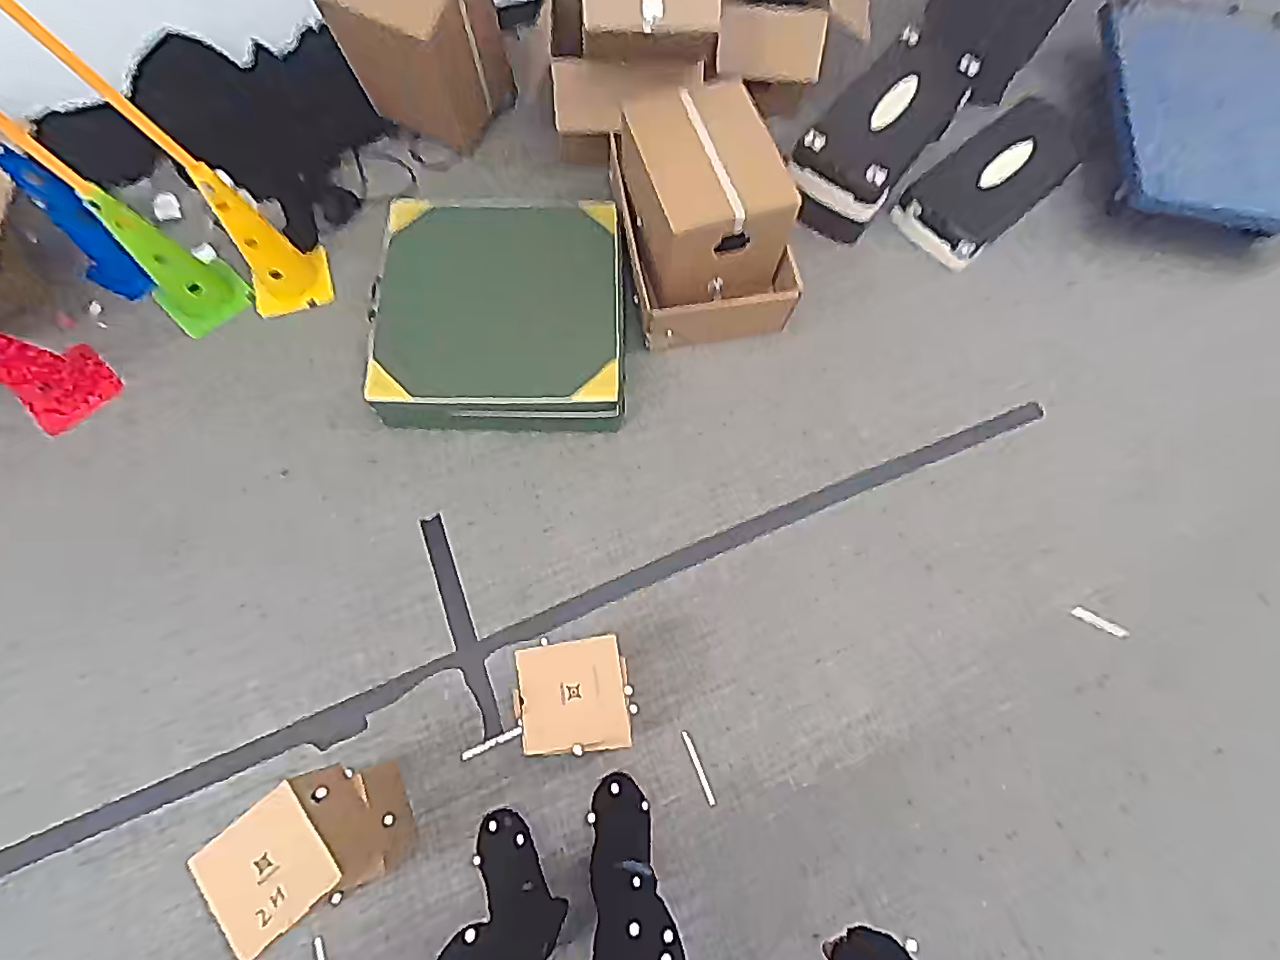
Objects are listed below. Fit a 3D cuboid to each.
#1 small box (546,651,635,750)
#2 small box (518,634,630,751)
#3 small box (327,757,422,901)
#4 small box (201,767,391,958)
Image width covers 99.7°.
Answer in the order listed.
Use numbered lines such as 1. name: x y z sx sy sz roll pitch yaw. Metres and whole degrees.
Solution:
1. small box: -0.106 0.455 1.125 0.179 0.176 0.168 -5 71 -5
2. small box: -0.114 0.379 0.976 0.179 0.176 0.168 -7 72 -5
3. small box: -0.545 0.665 1.040 0.168 0.176 0.179 -23 72 -9
4. small box: -0.550 0.603 0.887 0.168 0.176 0.179 -36 78 -11
